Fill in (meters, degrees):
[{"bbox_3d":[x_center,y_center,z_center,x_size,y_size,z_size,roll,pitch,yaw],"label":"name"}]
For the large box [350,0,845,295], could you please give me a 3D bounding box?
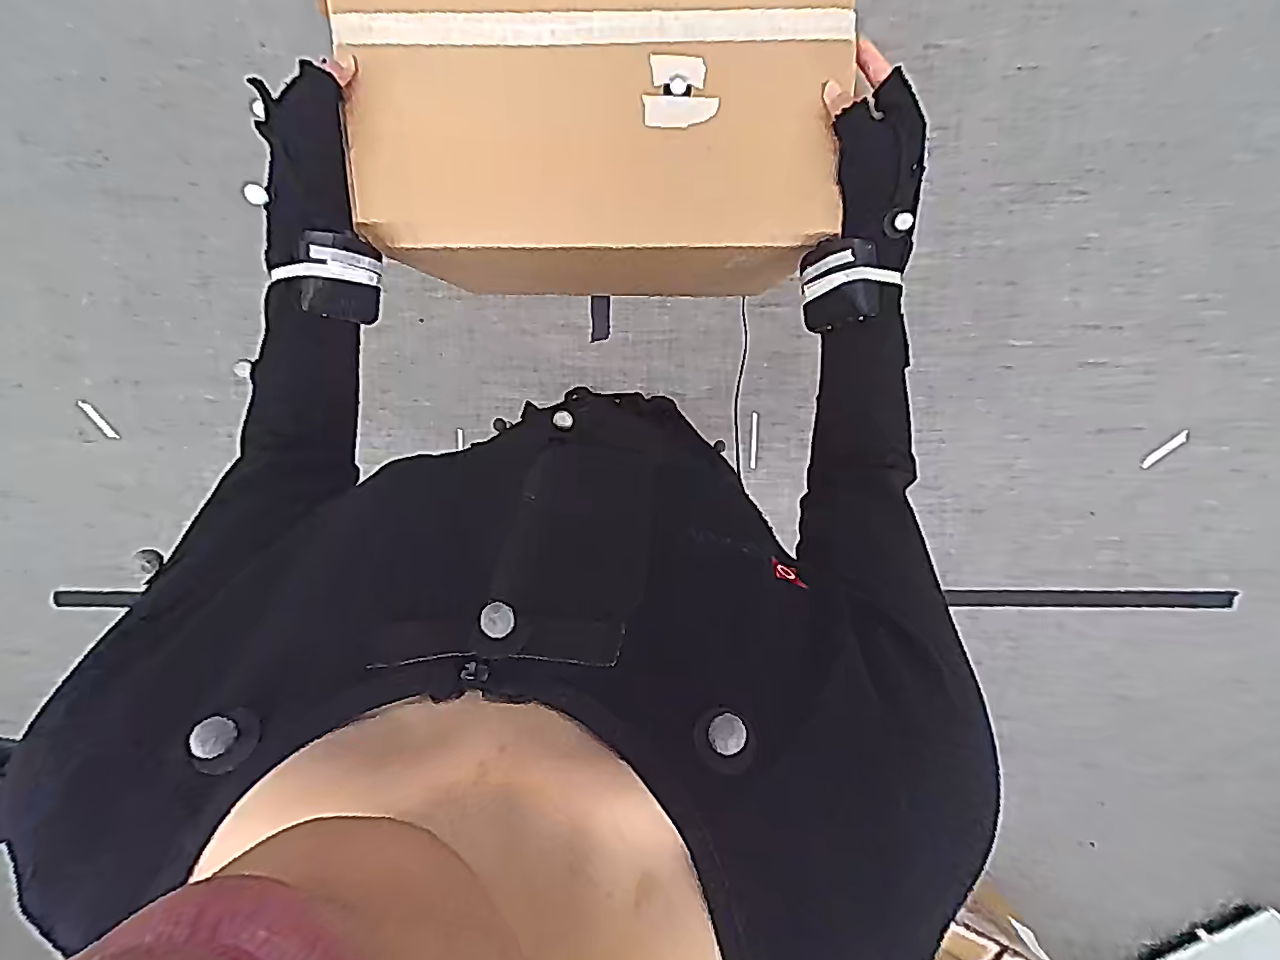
[{"bbox_3d":[-0.036,-0.384,0.583,0.408,0.320,0.320,0,102,0],"label":"large box"}]
